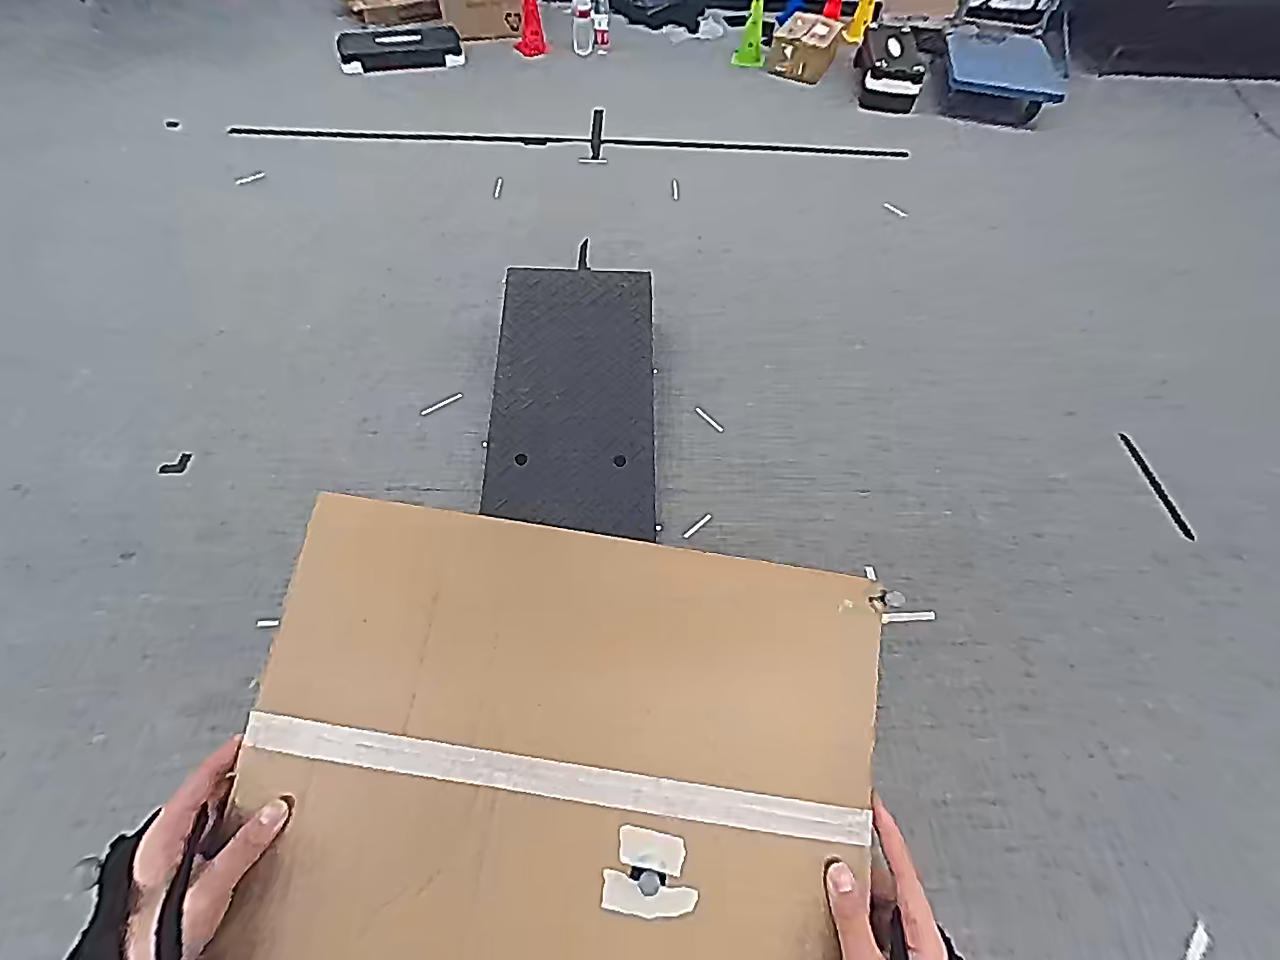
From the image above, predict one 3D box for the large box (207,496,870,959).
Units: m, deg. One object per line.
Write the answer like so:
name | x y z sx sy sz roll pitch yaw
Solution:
large box | -0.055 0.218 0.506 0.408 0.320 0.320 9 78 0
